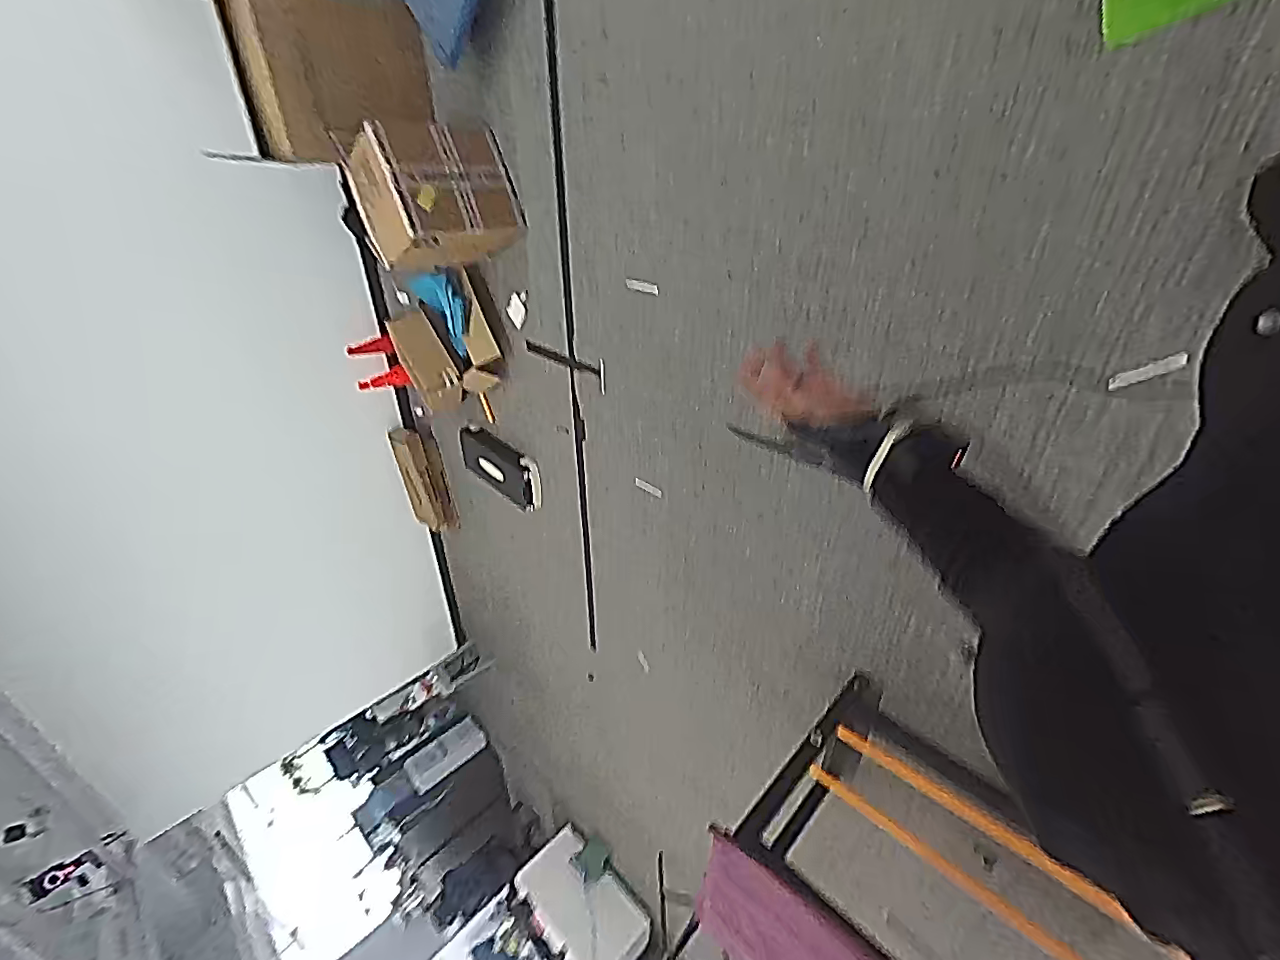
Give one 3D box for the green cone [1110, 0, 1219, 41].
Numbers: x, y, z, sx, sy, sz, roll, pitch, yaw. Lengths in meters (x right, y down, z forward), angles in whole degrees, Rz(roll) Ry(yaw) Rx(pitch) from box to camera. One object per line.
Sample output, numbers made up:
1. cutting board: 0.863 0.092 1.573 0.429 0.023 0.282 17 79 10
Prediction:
1. green cone: 0.711 -0.754 0.708 0.200 0.368 0.202 3 114 50
